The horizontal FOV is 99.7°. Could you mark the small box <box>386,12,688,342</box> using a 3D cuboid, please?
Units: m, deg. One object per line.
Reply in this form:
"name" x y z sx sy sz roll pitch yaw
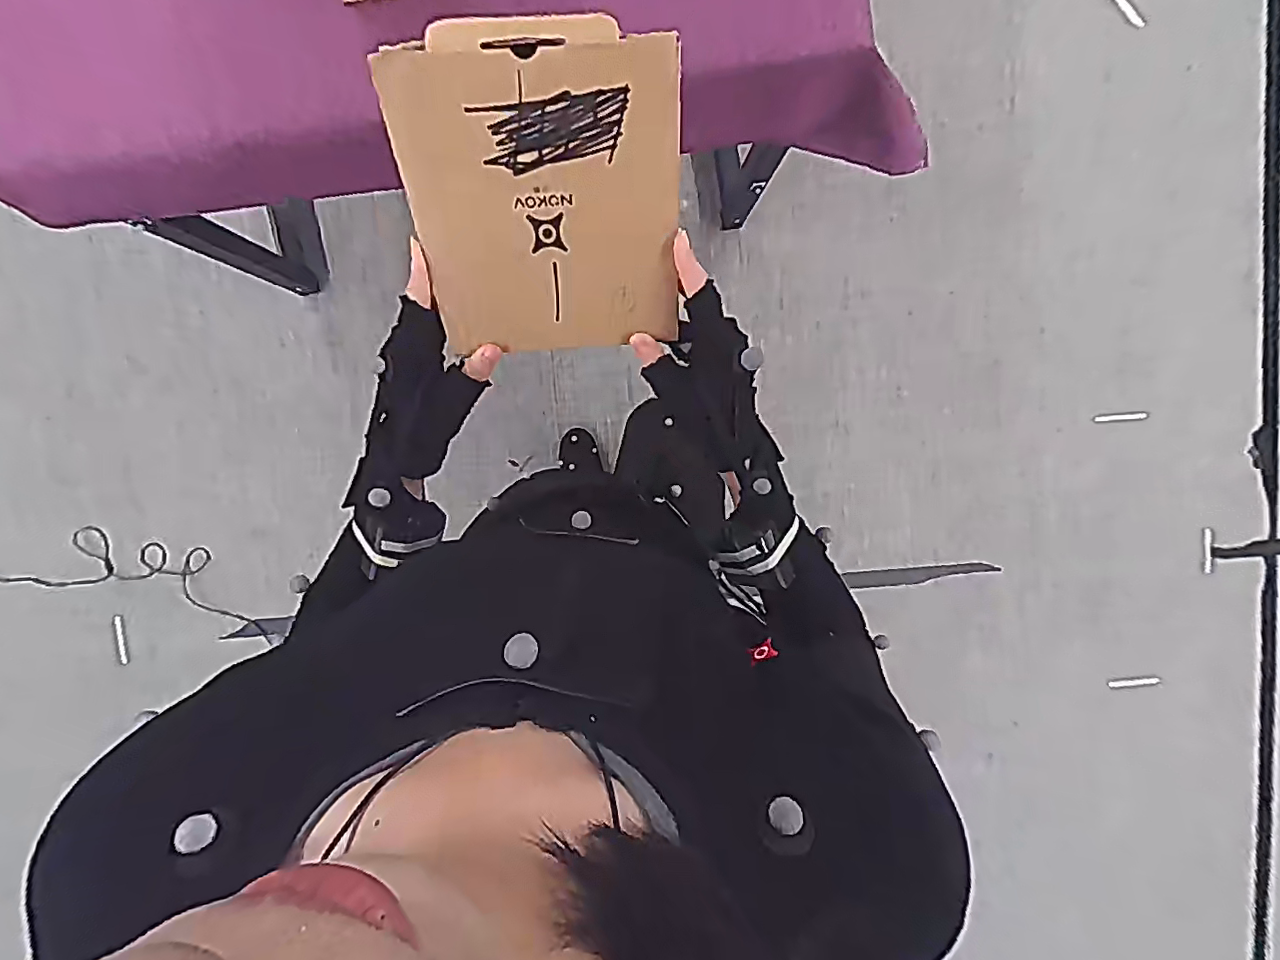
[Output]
"small box" -0.058 -0.219 0.401 0.168 0.176 0.179 -4 125 -1
